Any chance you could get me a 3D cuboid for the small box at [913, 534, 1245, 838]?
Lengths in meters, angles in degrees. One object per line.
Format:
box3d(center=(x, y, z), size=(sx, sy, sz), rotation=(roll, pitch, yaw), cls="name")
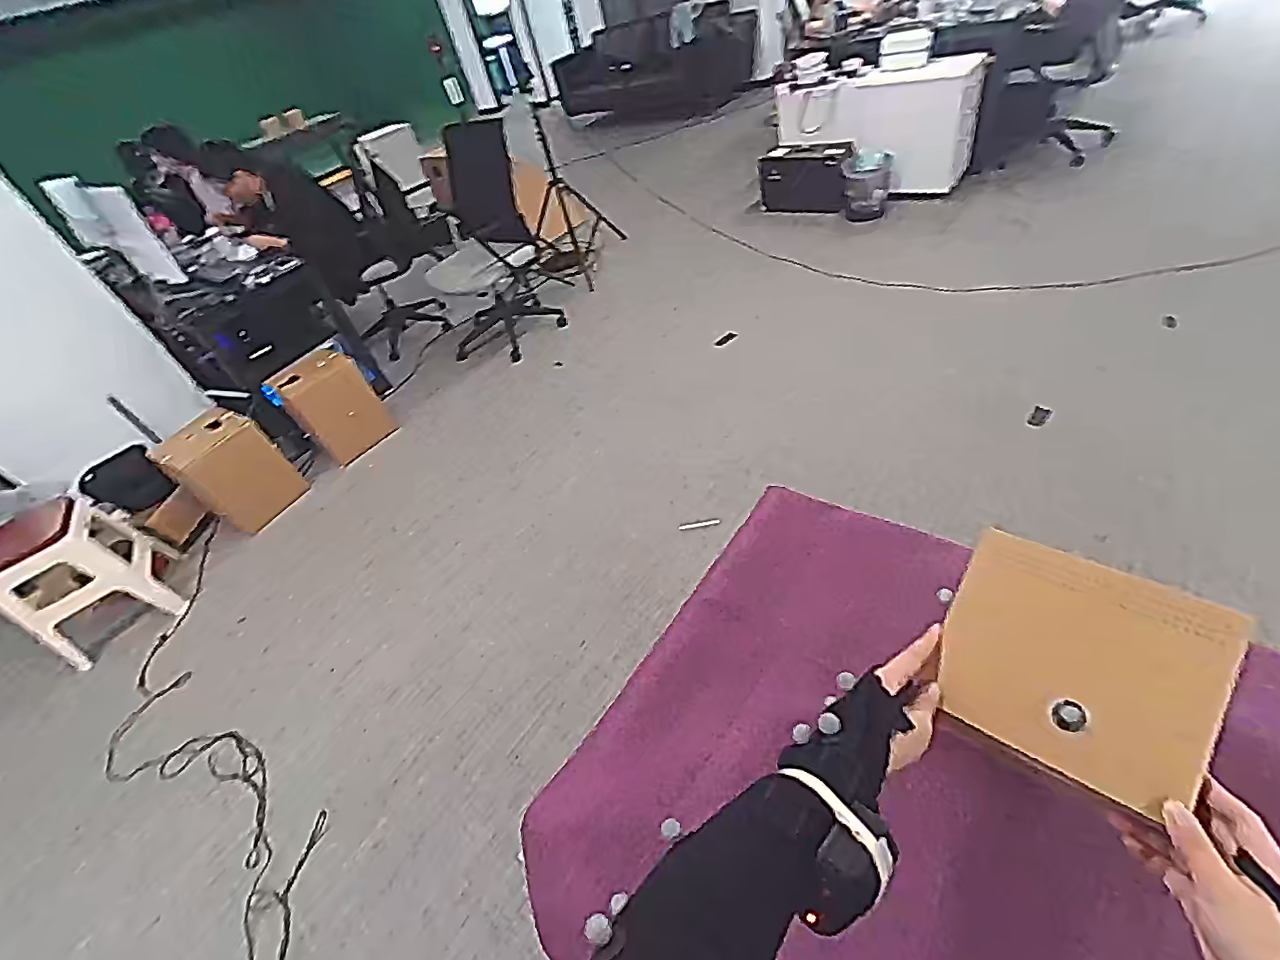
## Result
box3d(center=(0.368, 0.171, 0.481), size=(0.179, 0.168, 0.176), rotation=(24, 76, 33), cls="small box")
